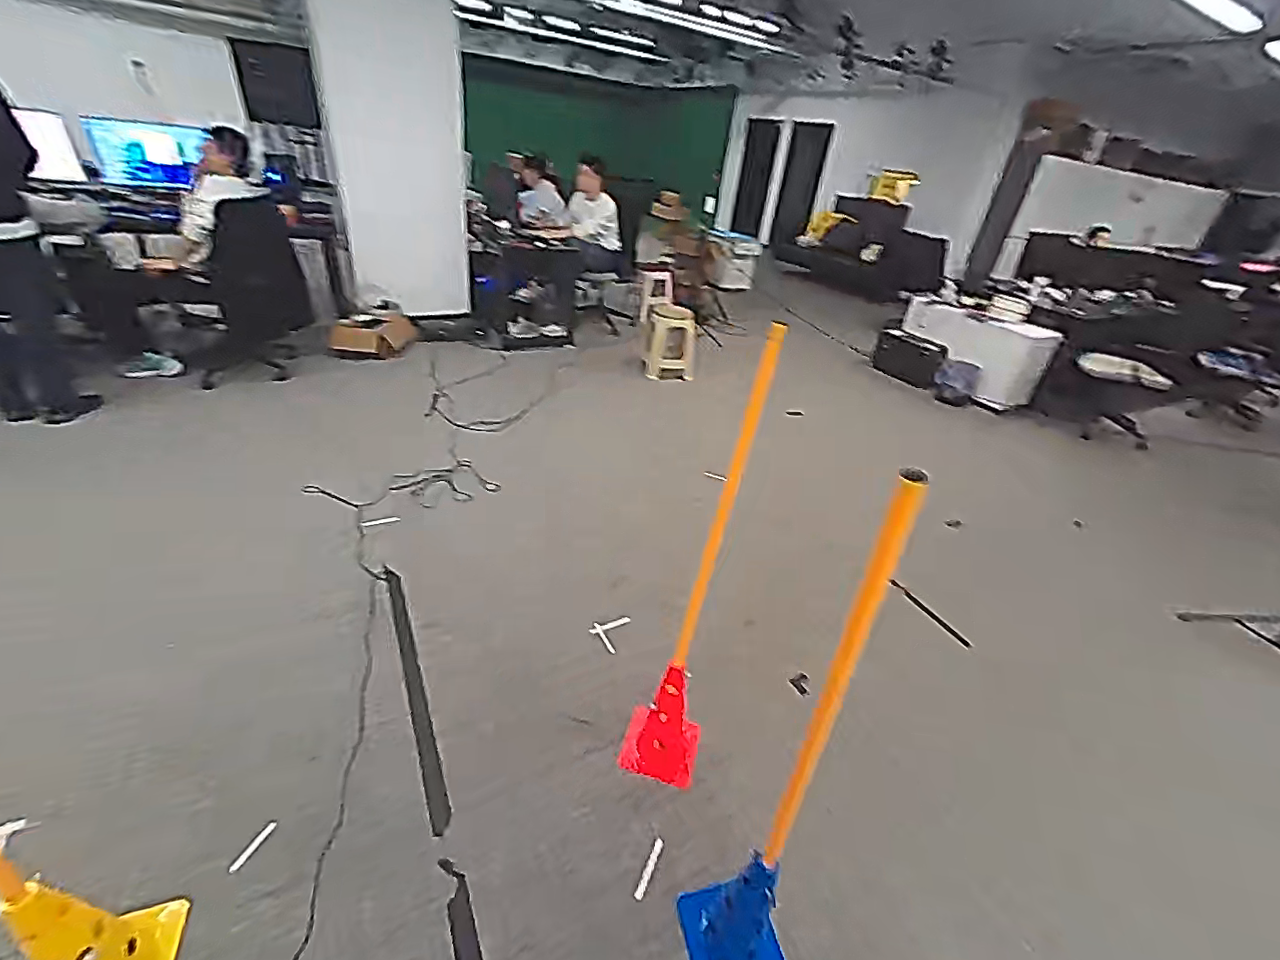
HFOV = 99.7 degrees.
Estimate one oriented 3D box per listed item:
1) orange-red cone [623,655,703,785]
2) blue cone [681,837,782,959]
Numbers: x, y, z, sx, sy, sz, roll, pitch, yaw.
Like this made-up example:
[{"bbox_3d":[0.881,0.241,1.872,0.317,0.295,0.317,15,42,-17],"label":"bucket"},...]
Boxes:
[{"bbox_3d":[0.084,0.596,1.429,0.198,0.360,0.199,14,33,12],"label":"orange-red cone"},{"bbox_3d":[0.214,0.842,1.084,0.193,0.380,0.192,-2,32,-14],"label":"blue cone"}]
